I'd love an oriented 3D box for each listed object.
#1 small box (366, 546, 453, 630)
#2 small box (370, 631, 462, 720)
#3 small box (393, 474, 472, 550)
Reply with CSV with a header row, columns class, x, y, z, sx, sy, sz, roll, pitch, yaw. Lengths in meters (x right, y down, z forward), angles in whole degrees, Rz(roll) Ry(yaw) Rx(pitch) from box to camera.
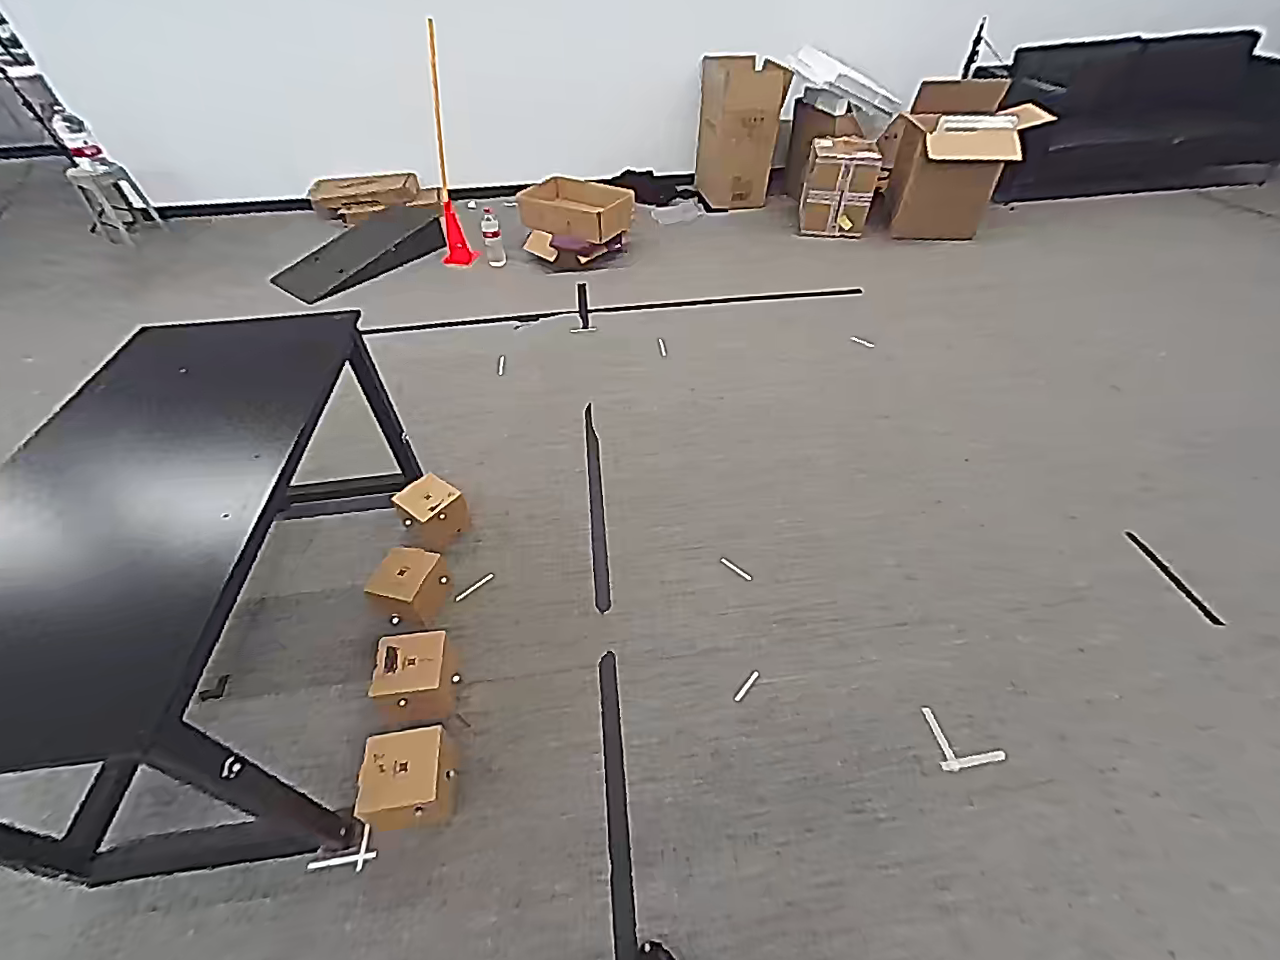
class,x,y,z,sx,sy,sz,roll,pitch,yaw
small box,-0.704,0.335,1.678,0.168,0.176,0.179,9,48,11
small box,-0.603,0.538,1.478,0.179,0.176,0.168,-6,46,-6
small box,-0.718,0.116,1.886,0.179,0.176,0.168,27,53,25
